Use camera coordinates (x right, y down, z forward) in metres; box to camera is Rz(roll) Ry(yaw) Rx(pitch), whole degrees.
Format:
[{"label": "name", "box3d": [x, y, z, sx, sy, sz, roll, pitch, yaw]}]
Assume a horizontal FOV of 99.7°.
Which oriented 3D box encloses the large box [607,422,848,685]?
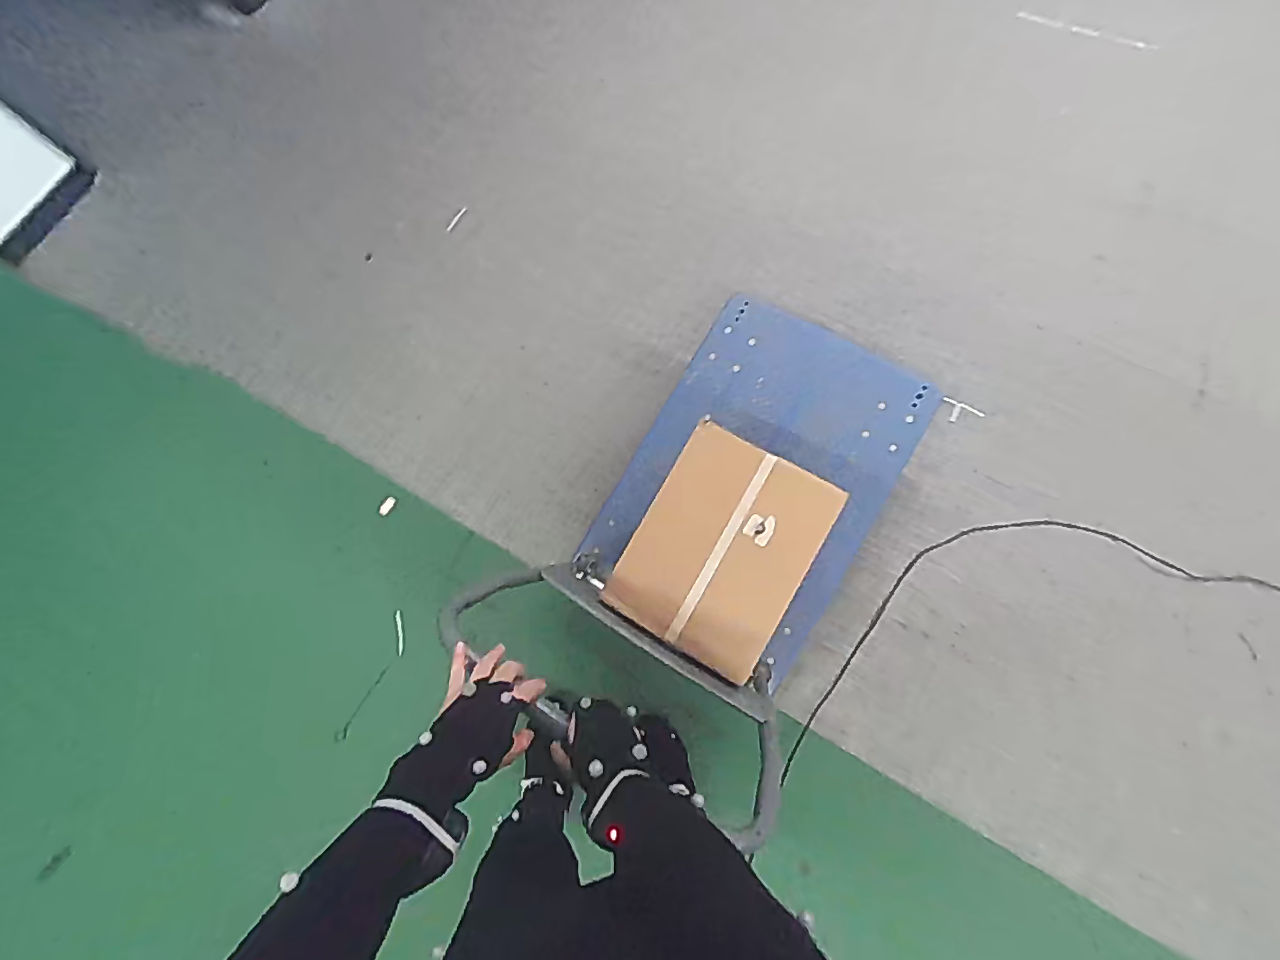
[{"label": "large box", "box3d": [0.182, 0.154, 1.151, 0.320, 0.320, 0.408, 29, 85, 12]}]
